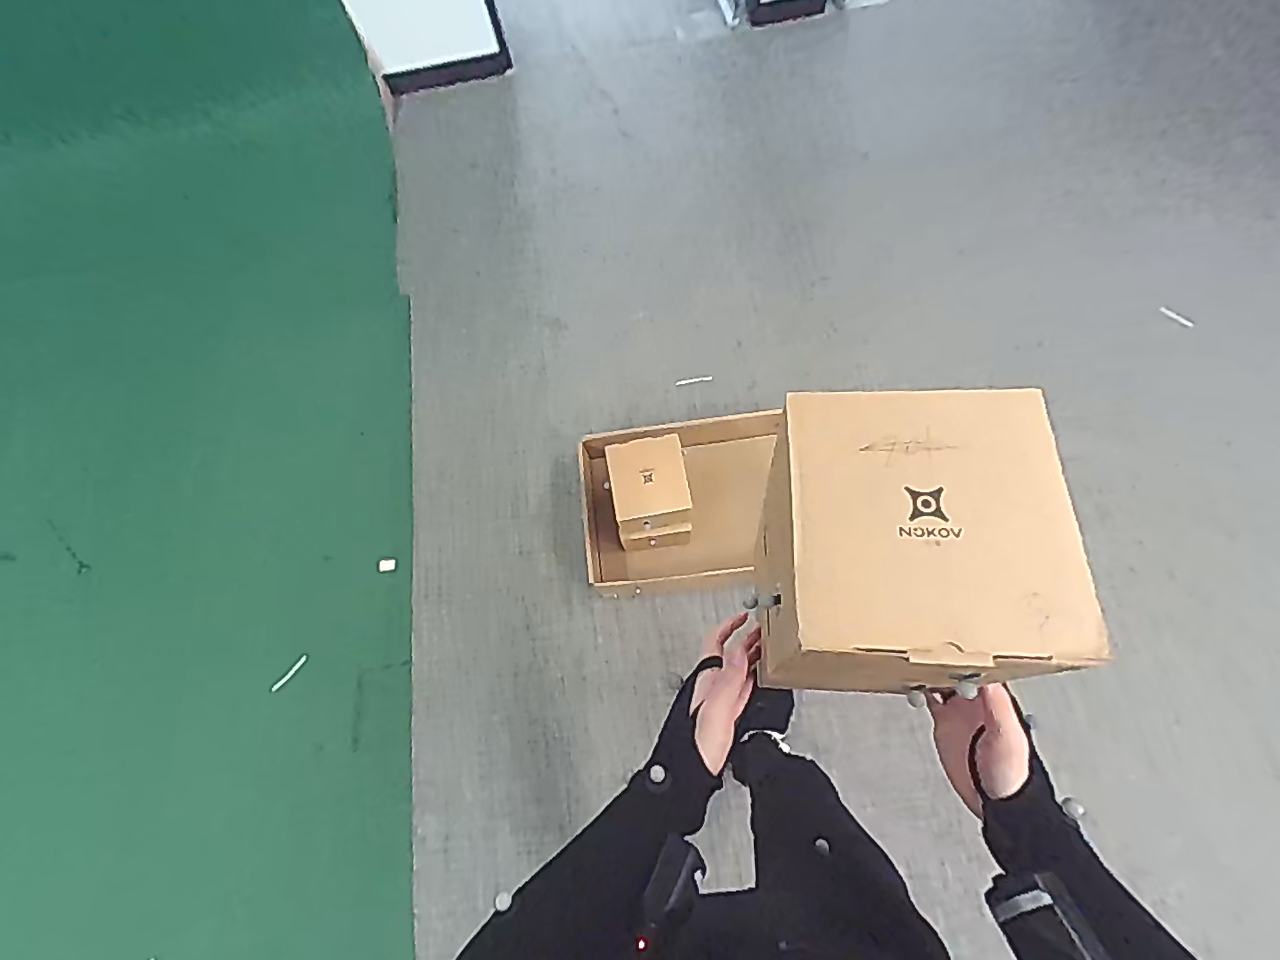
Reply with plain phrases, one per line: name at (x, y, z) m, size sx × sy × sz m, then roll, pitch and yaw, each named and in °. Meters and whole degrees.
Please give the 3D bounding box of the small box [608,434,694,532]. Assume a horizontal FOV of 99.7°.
small box at (0.030, 0.016, 1.240) m, size 0.168 × 0.176 × 0.179 m, roll -11°, pitch 72°, yaw 1°

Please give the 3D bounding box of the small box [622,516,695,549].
small box at (0.043, 0.077, 1.390) m, size 0.179 × 0.176 × 0.168 m, roll -8°, pitch 73°, yaw 0°

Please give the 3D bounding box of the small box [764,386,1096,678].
small box at (0.184, 0.049, 0.407) m, size 0.168 × 0.176 × 0.179 m, roll 1°, pitch 66°, yaw 9°

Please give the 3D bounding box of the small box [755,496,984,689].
small box at (0.211, 0.118, 0.553) m, size 0.179 × 0.176 × 0.168 m, roll 0°, pitch 66°, yaw 10°
